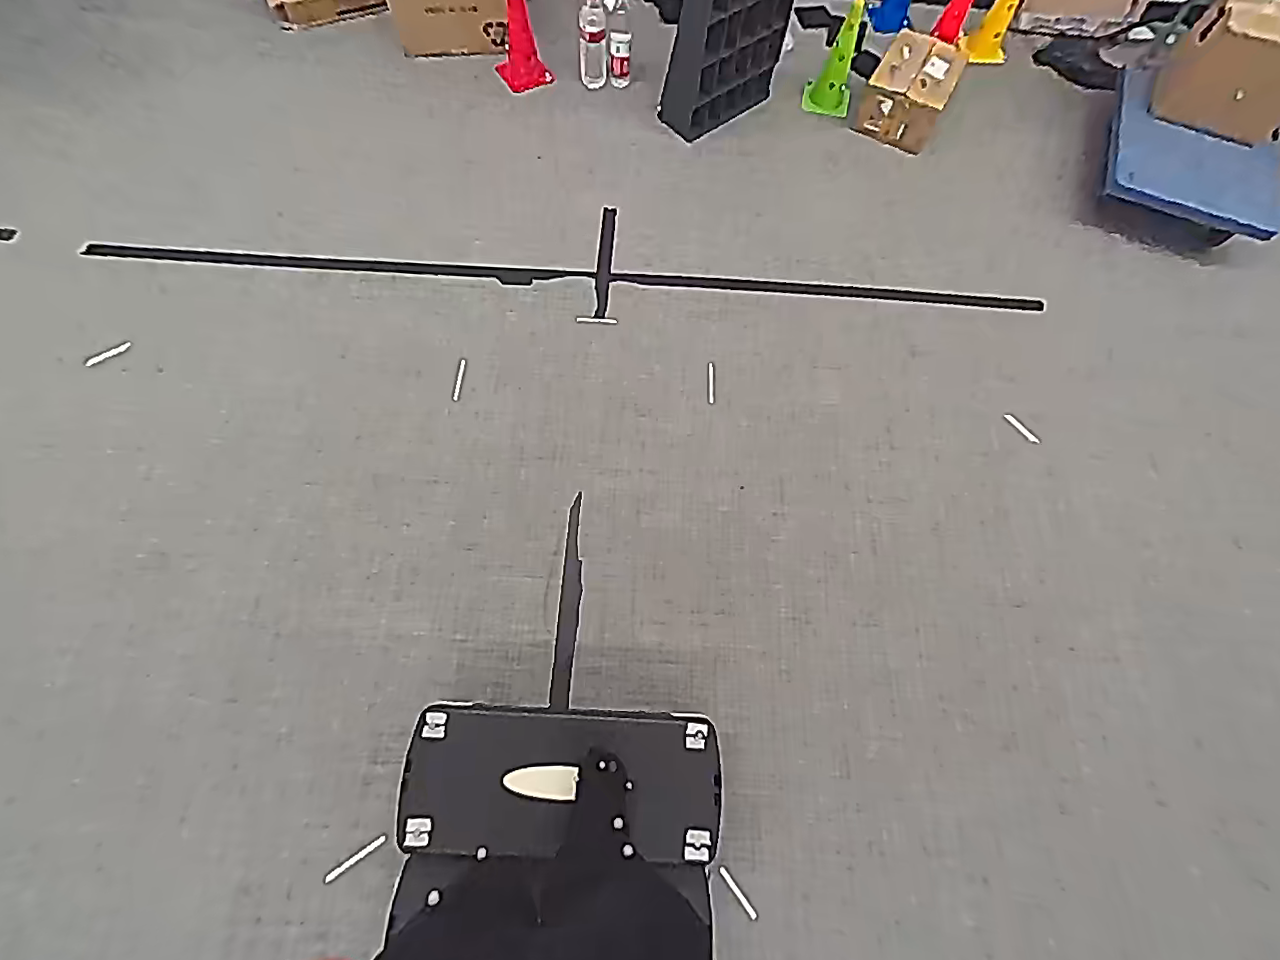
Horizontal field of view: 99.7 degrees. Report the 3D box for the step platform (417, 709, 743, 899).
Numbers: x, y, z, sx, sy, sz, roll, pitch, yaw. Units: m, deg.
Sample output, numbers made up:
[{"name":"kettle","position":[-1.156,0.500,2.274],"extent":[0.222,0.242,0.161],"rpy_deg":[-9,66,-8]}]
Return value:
[{"name":"step platform","position":[-0.121,0.698,1.193],"extent":[0.684,0.204,0.286],"rpy_deg":[8,65,-1]}]
